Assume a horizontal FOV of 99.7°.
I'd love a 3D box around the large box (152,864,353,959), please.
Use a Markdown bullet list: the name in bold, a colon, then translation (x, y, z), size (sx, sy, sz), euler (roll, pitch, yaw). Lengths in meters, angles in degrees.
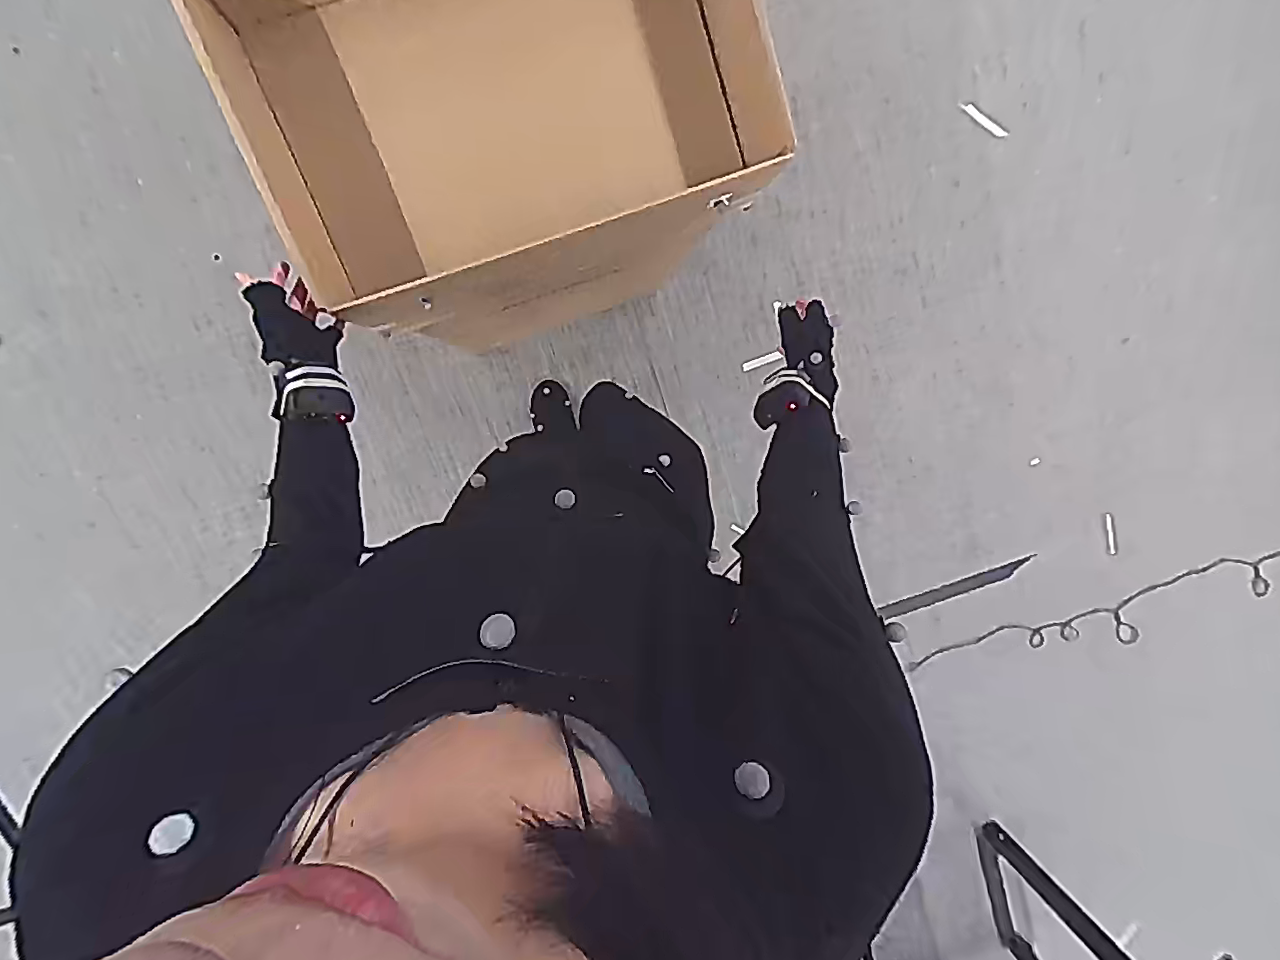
- **large box**: translation (-1.053, 1.363, 1.443), size (0.320, 0.320, 0.408), euler (-23, 101, -4)
